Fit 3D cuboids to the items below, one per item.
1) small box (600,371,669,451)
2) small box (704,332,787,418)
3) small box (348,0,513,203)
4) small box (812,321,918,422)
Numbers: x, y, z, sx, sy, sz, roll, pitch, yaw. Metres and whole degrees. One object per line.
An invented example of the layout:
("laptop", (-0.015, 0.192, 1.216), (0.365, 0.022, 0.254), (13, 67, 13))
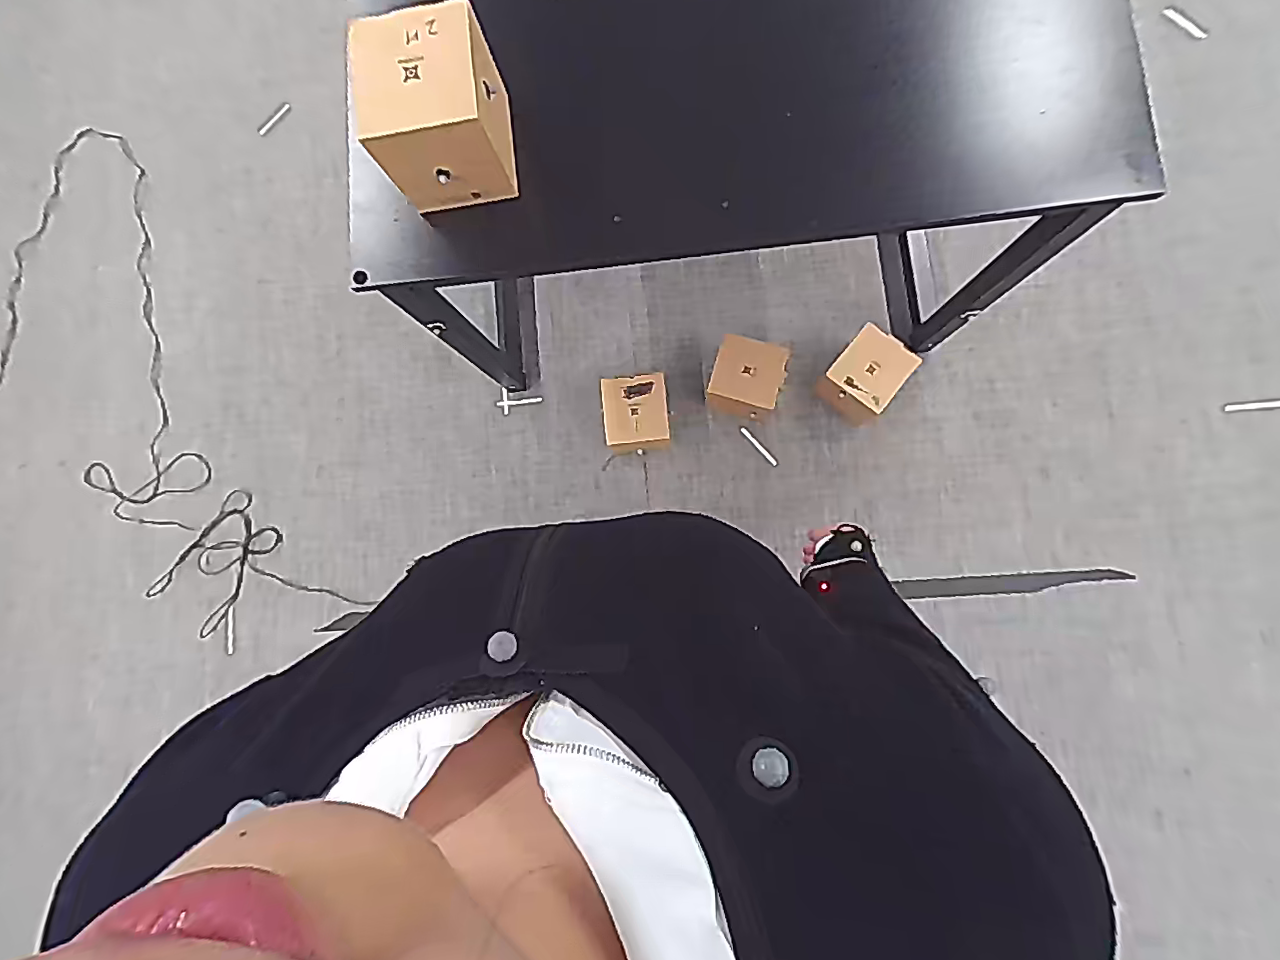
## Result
("small box", (-0.011, -0.182, 1.463), (0.168, 0.176, 0.179), (-6, 86, 5))
("small box", (0.276, -0.272, 1.447), (0.179, 0.176, 0.168), (16, 86, 7))
("small box", (-0.291, -0.528, 0.782), (0.168, 0.176, 0.179), (-7, 84, 4))
("small box", (0.577, -0.276, 1.418), (0.168, 0.176, 0.179), (39, 89, 7))
